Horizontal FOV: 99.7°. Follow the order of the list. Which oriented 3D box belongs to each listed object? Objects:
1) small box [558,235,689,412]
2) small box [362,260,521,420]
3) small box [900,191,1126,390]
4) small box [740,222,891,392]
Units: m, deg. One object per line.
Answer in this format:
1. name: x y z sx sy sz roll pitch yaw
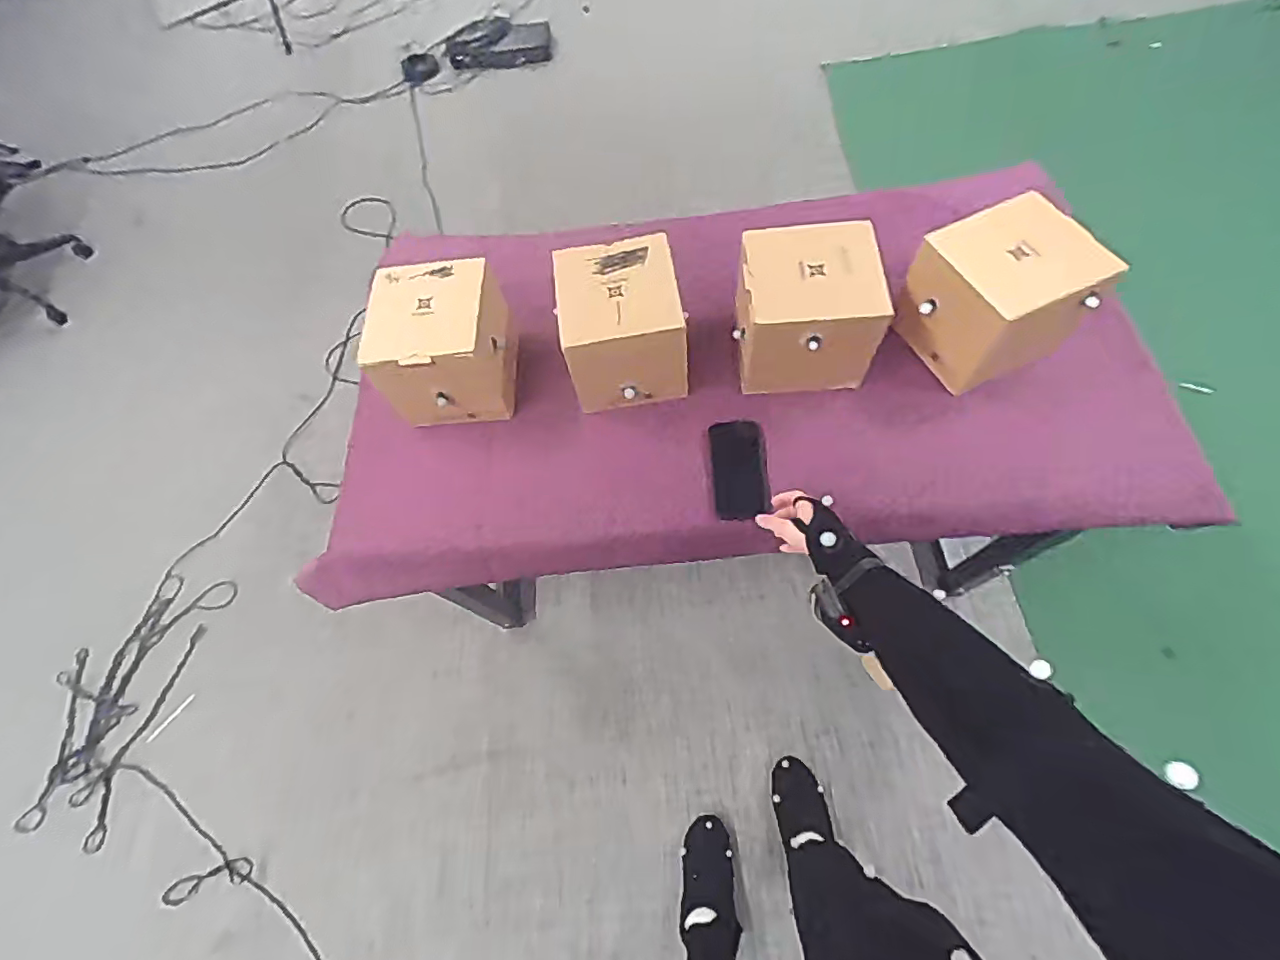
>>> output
1. small box: -0.021 -0.226 0.806 0.168 0.176 0.179 -9 66 3
2. small box: -0.288 -0.202 0.826 0.168 0.176 0.179 -4 66 5
3. small box: 0.493 -0.255 0.756 0.179 0.176 0.168 -24 64 -5
4. small box: 0.237 -0.240 0.781 0.179 0.176 0.168 -2 66 6
